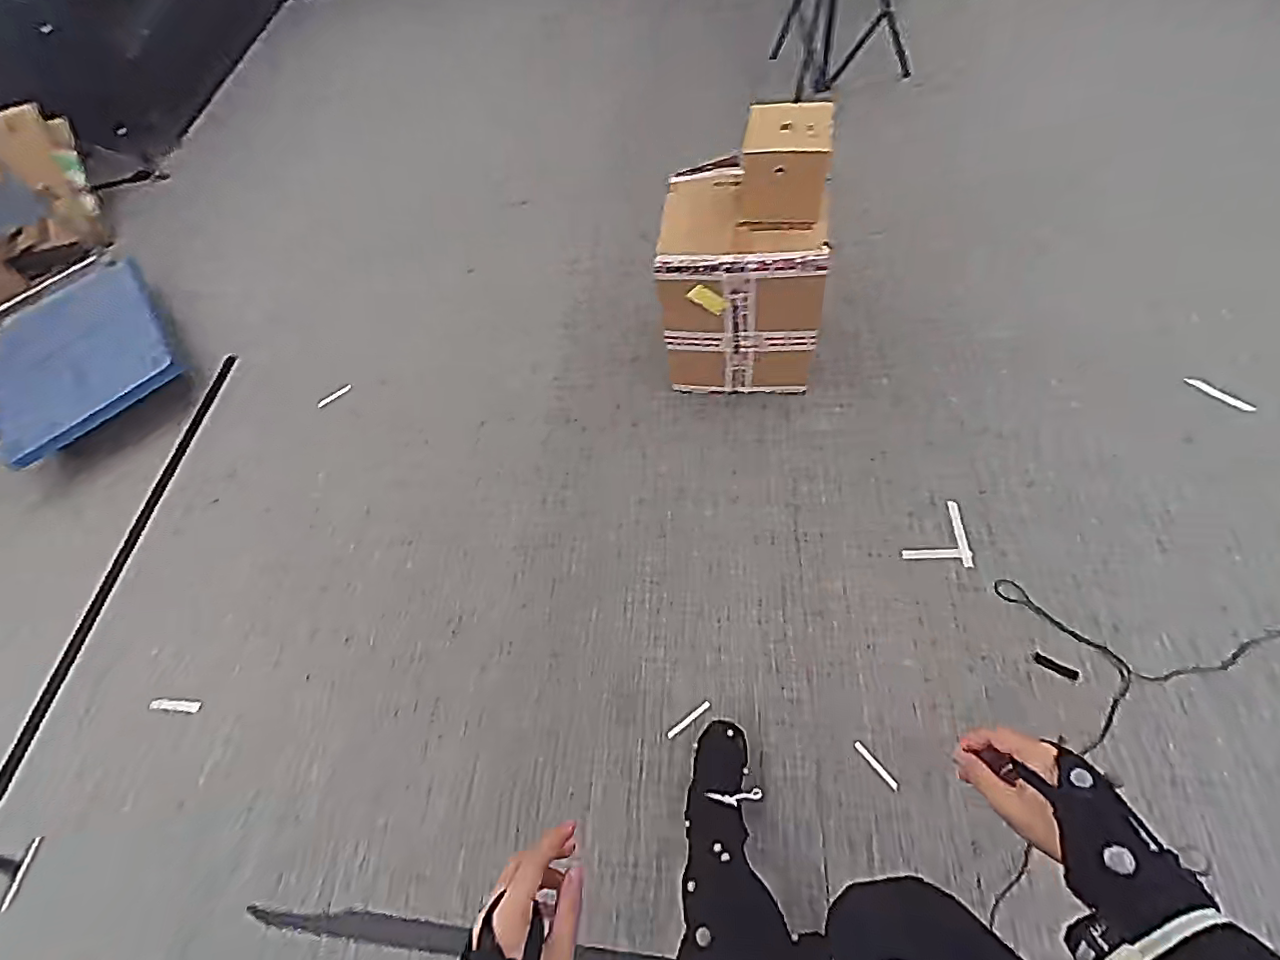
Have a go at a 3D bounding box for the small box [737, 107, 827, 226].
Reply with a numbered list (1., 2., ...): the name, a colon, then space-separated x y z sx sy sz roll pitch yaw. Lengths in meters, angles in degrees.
1. small box: 0.311 -0.690 1.202 0.179 0.176 0.168 6 65 11
